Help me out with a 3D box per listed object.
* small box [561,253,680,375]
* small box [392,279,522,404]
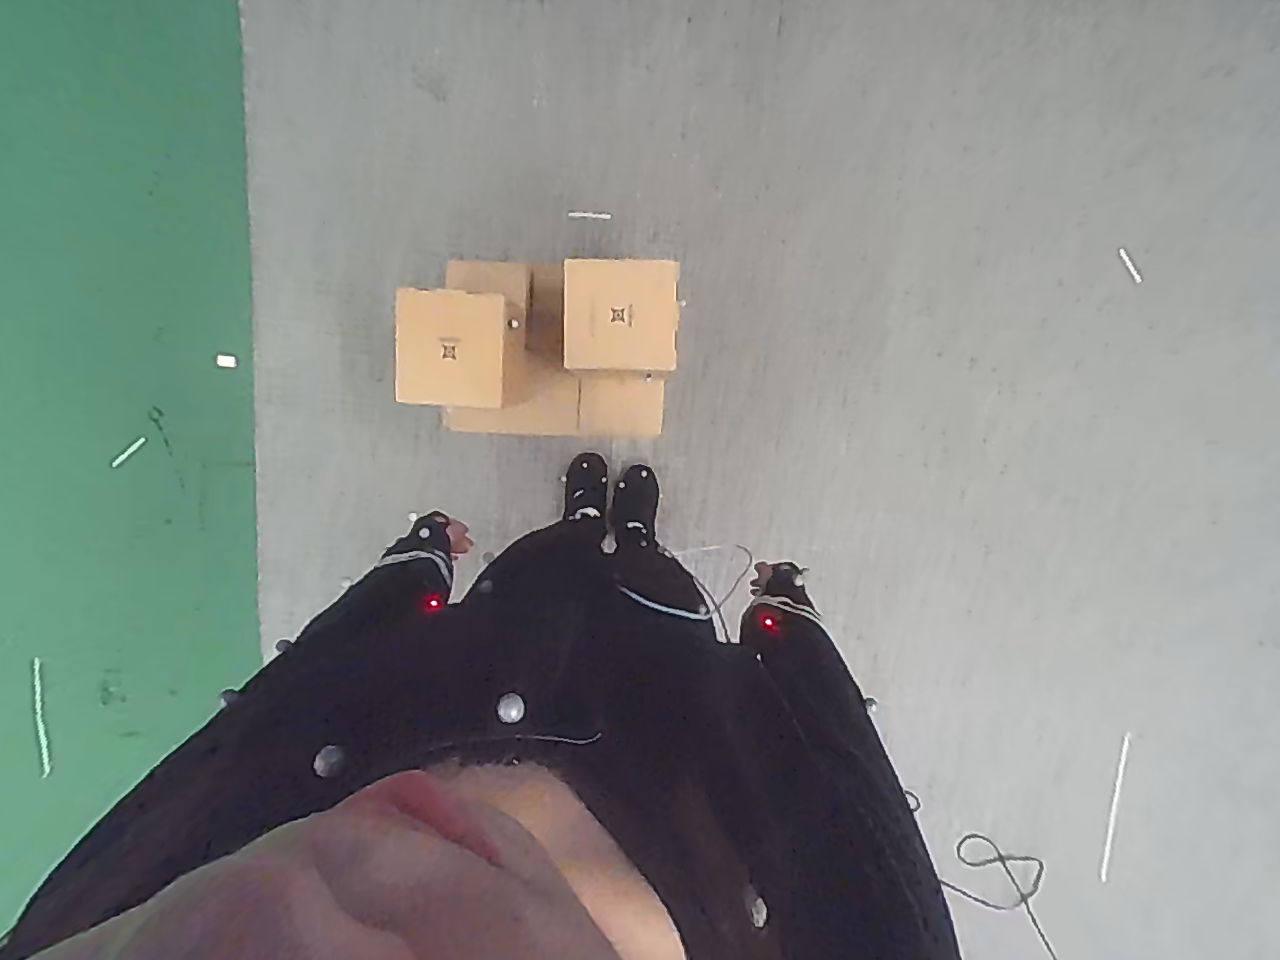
[{"bbox_3d":[-0.030,-0.266,0.900,0.179,0.176,0.168,3,97,1],"label":"small box"},{"bbox_3d":[-0.297,-0.224,0.905,0.168,0.176,0.179,4,99,-2],"label":"small box"}]
